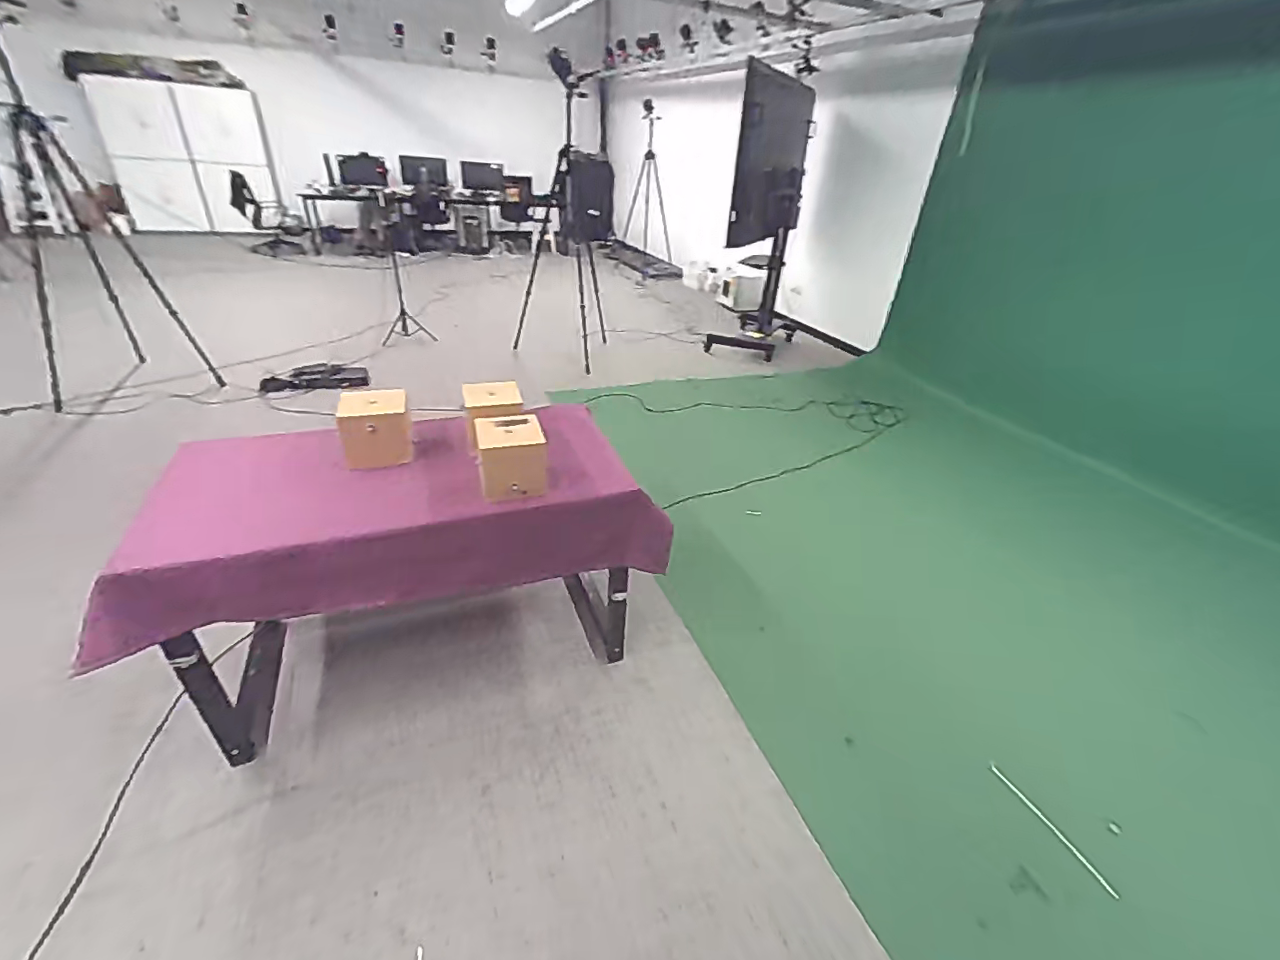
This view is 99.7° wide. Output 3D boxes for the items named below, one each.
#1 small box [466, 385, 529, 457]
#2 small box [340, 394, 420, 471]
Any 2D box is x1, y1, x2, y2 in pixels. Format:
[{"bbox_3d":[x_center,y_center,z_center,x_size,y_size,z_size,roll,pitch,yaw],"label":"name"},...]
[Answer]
[{"bbox_3d":[-0.442,-0.181,1.680,0.168,0.176,0.179,-7,32,-17],"label":"small box"},{"bbox_3d":[-0.749,-0.136,1.575,0.179,0.176,0.168,-7,34,-17],"label":"small box"}]
